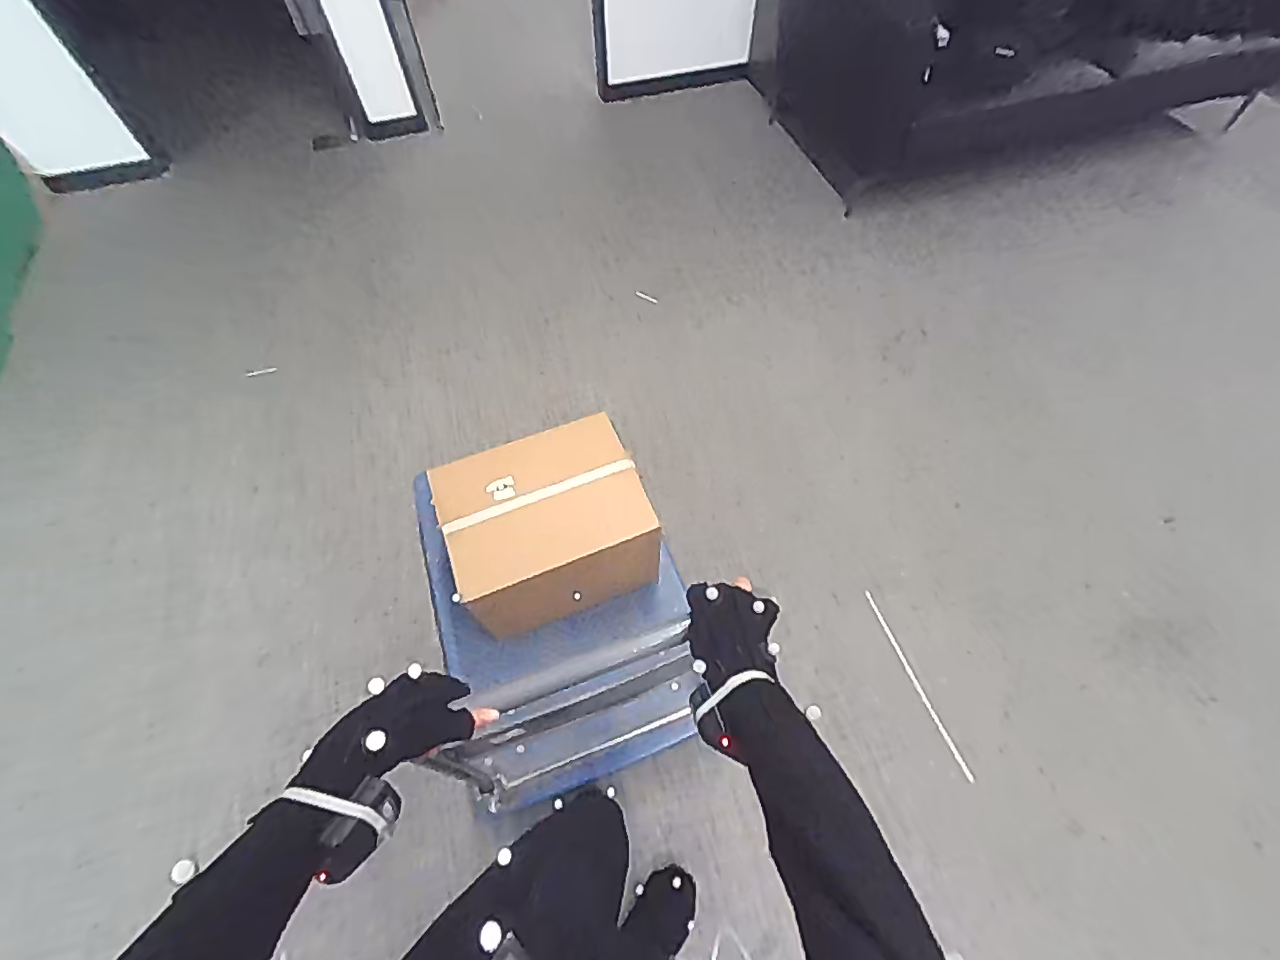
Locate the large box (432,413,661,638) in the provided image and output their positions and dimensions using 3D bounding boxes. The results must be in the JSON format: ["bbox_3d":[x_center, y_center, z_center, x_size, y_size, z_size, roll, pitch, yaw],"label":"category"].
[{"bbox_3d":[-0.196,0.111,1.232,0.408,0.320,0.320,-21,62,-11],"label":"large box"}]
